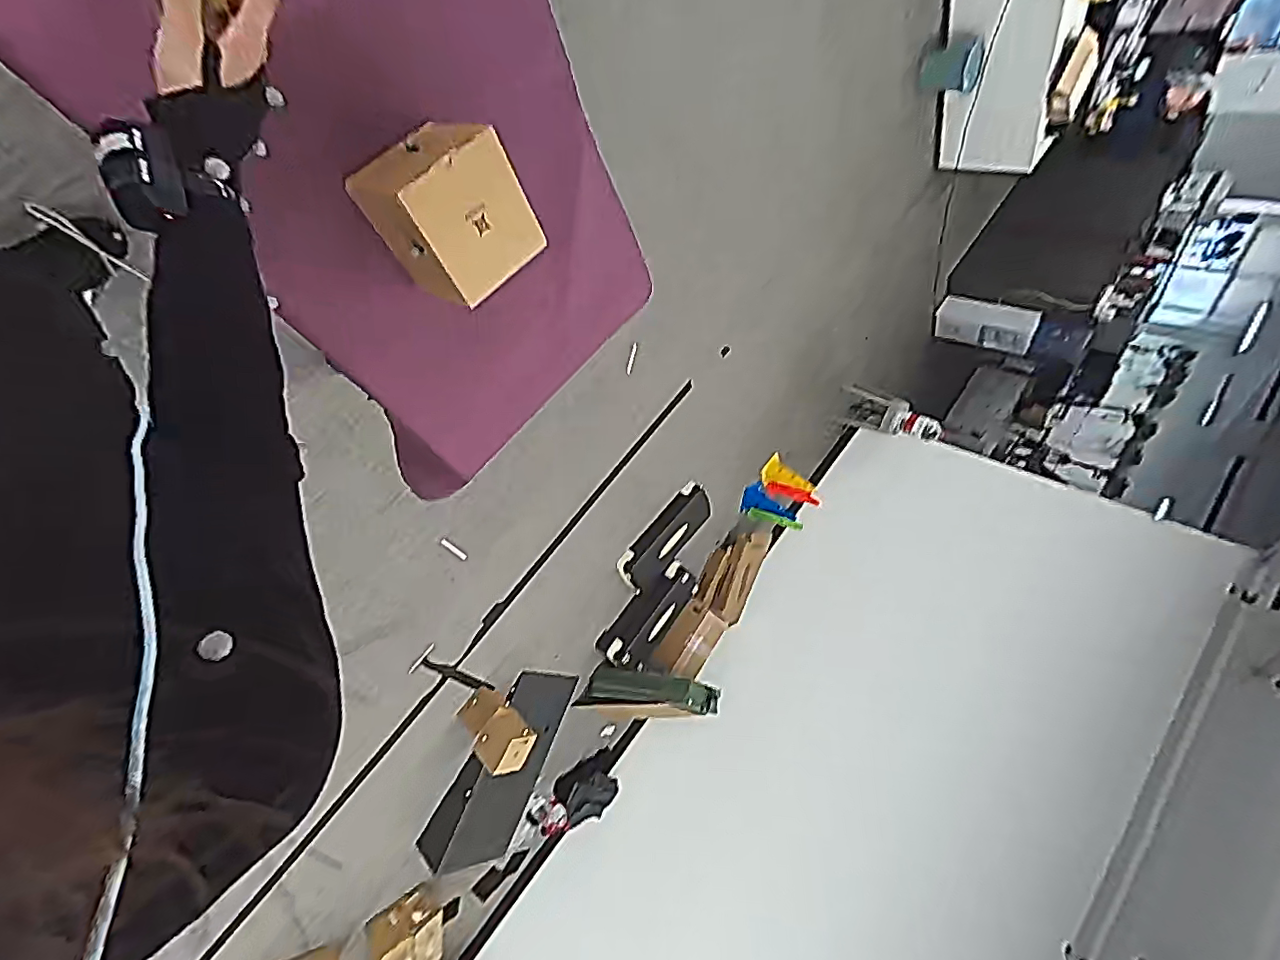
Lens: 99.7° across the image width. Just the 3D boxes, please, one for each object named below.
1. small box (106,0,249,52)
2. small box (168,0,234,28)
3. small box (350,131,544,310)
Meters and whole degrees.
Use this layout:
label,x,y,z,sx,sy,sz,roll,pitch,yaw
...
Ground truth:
label,x,y,z,sx,sy,sz,roll,pitch,yaw
small box,-0.808,-0.850,0.896,0.168,0.176,0.179,-52,145,-12
small box,-0.353,-0.474,0.382,0.179,0.176,0.168,-49,145,4
small box,-0.280,-0.386,0.798,0.168,0.176,0.179,-48,142,-17
